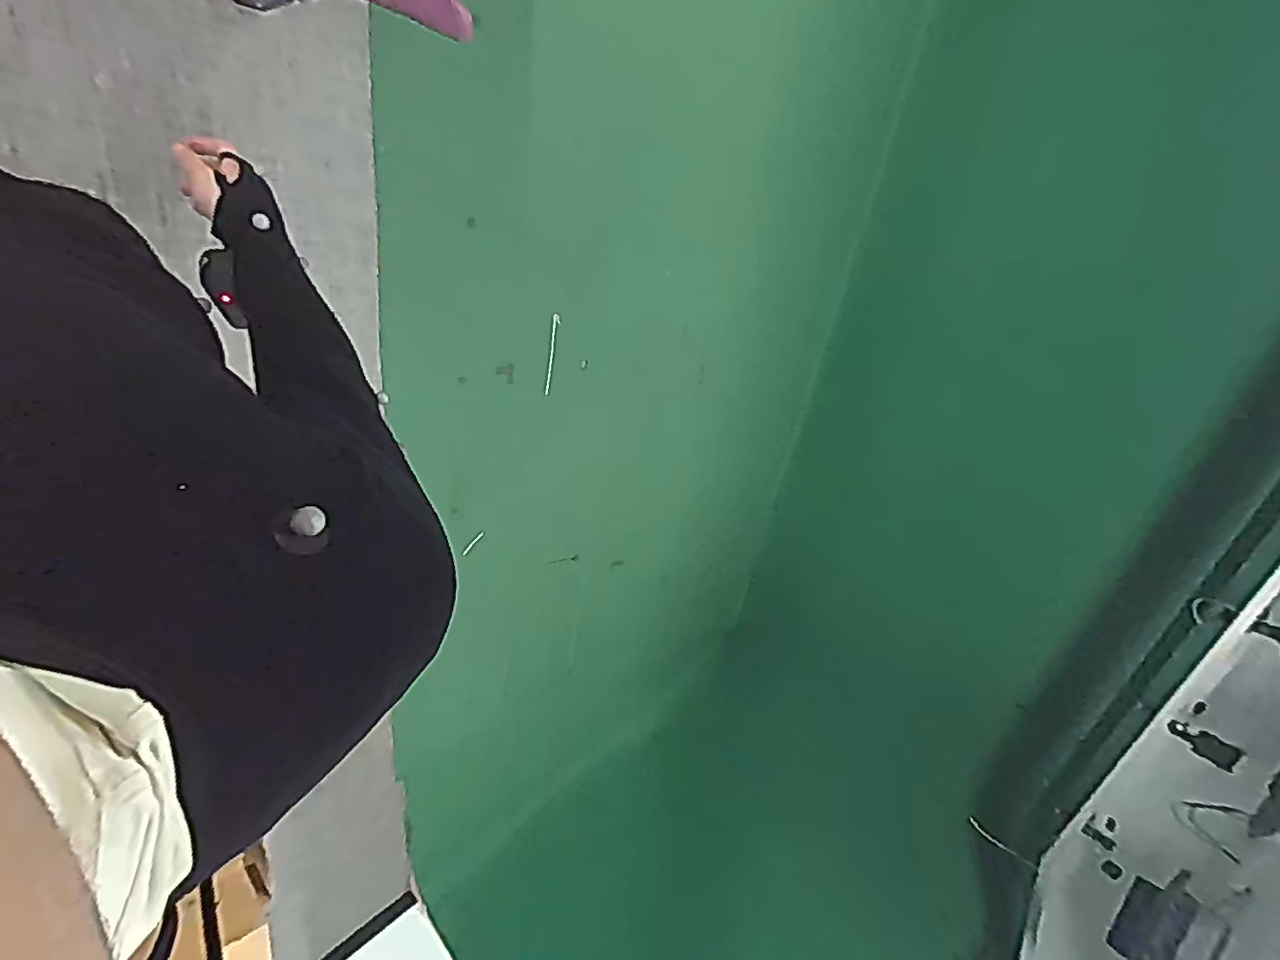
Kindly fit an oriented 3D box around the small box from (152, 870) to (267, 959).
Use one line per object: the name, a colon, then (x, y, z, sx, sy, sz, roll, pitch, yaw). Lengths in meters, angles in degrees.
small box: (-0.964, 1.040, 1.216, 0.168, 0.176, 0.179, -16, 126, -48)
